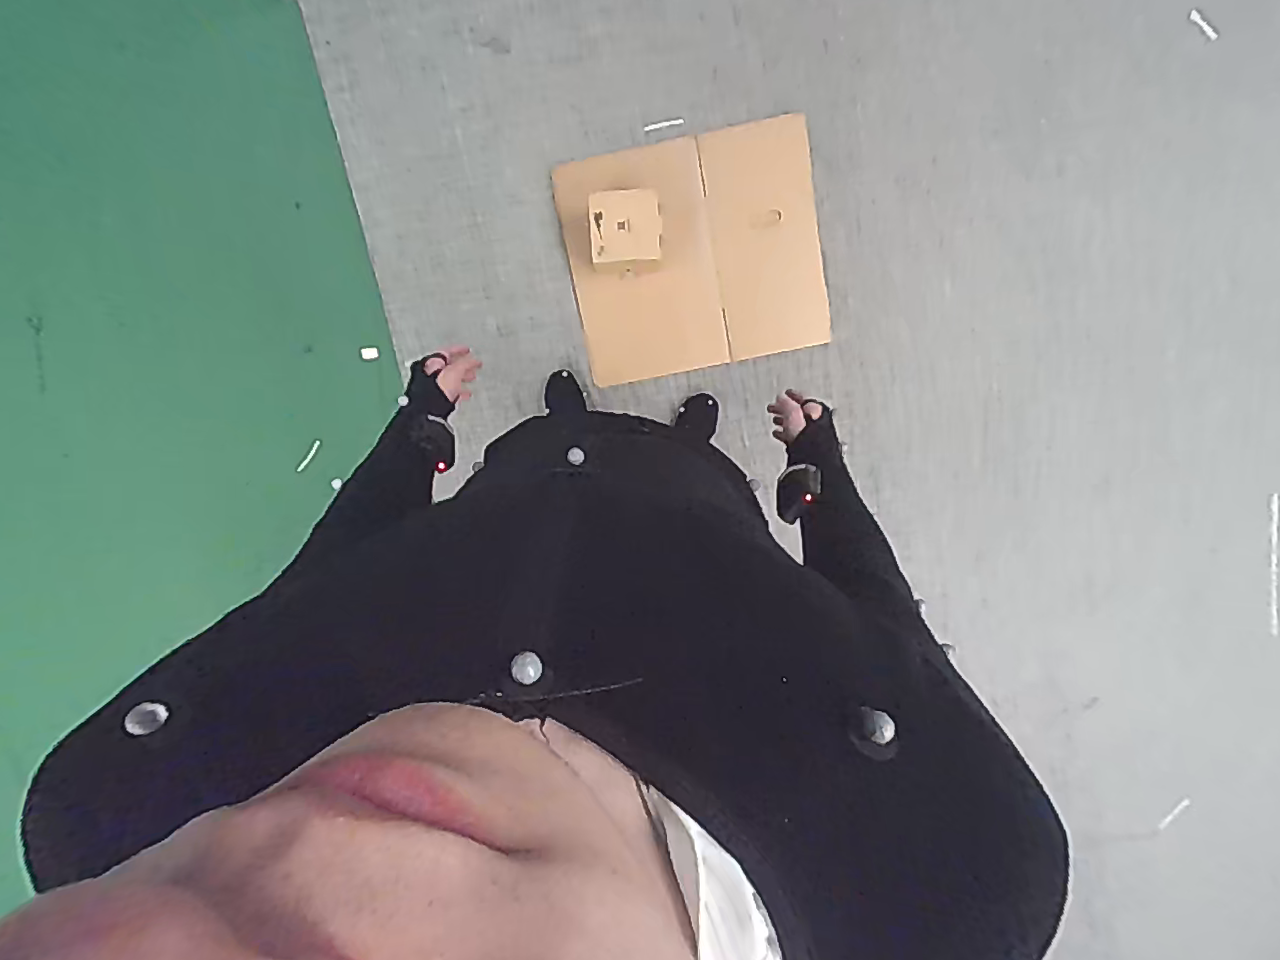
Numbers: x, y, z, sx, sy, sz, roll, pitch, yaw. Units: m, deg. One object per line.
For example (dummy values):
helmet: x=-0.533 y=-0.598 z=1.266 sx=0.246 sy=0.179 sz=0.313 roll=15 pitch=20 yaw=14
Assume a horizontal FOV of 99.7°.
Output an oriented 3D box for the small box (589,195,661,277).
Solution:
small box: x=-0.038 y=-0.634 z=1.418 sx=0.179 sy=0.176 sz=0.168 roll=-3 pitch=101 yaw=1
